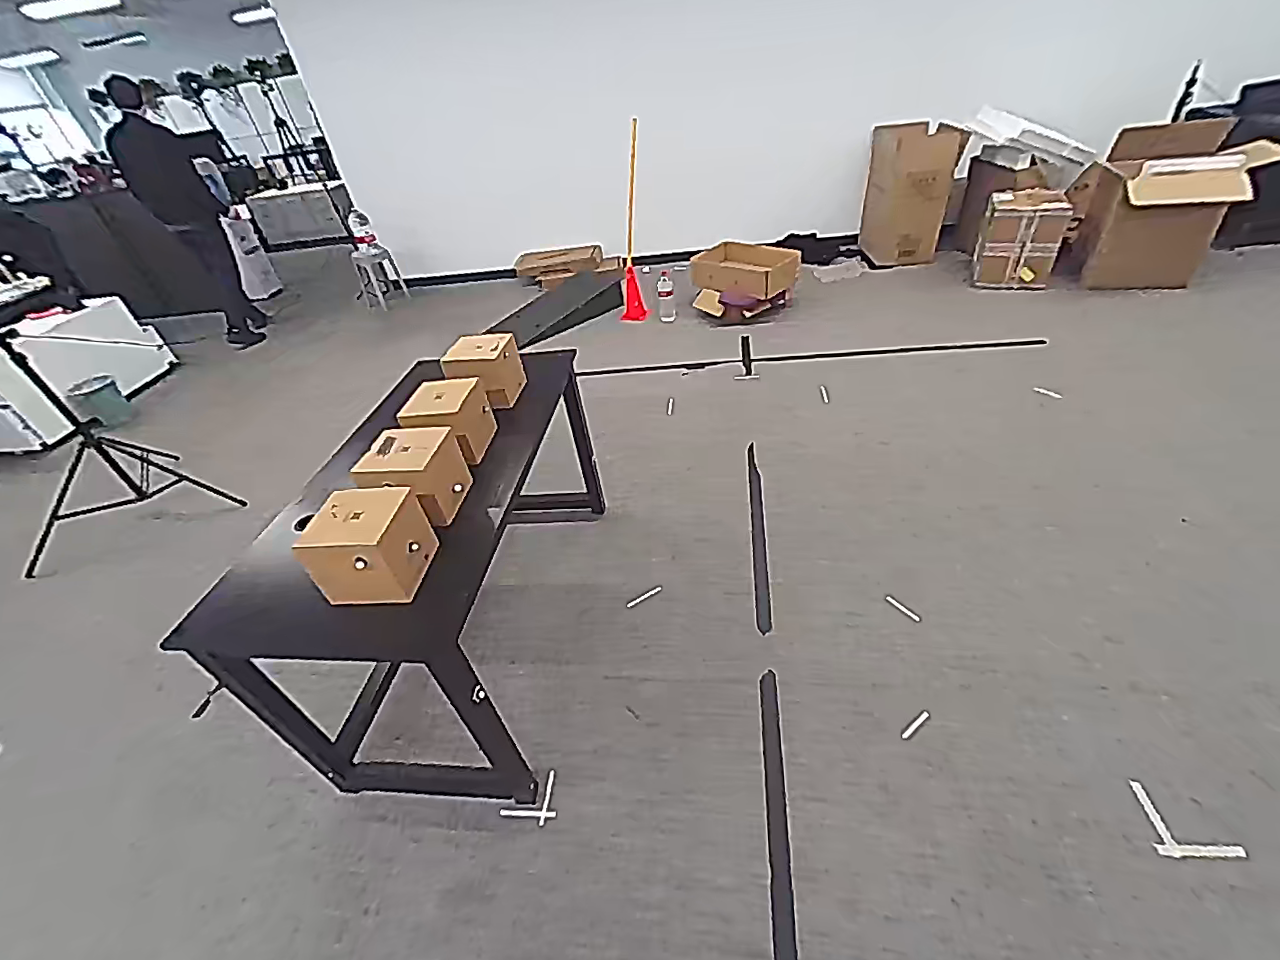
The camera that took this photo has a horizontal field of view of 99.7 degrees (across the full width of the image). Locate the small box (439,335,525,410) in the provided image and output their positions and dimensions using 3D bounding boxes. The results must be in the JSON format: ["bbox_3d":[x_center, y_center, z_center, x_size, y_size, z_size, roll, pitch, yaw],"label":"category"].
[{"bbox_3d":[-0.475,-0.325,1.654,0.179,0.176,0.168,-2,40,11],"label":"small box"}]

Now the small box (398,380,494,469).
[{"bbox_3d":[-0.508,-0.149,1.448,0.168,0.176,0.179,-4,40,9],"label":"small box"}]
